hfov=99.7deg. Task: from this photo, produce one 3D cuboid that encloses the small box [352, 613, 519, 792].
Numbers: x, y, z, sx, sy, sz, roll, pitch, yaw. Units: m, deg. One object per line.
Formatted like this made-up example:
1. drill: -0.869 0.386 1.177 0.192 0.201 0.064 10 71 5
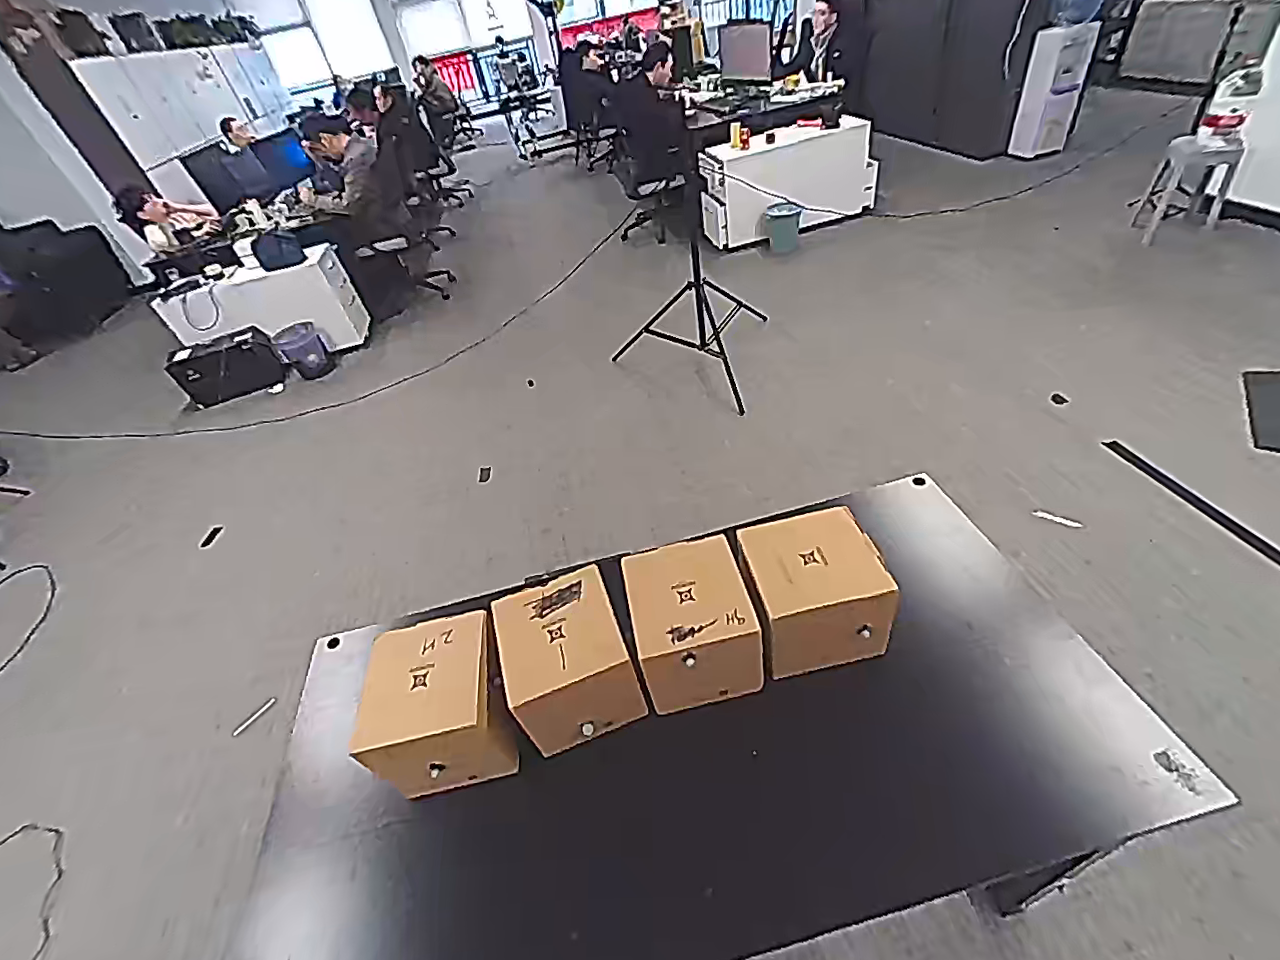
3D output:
1. small box: -0.280 0.329 0.788 0.168 0.176 0.179 -13 41 -1
